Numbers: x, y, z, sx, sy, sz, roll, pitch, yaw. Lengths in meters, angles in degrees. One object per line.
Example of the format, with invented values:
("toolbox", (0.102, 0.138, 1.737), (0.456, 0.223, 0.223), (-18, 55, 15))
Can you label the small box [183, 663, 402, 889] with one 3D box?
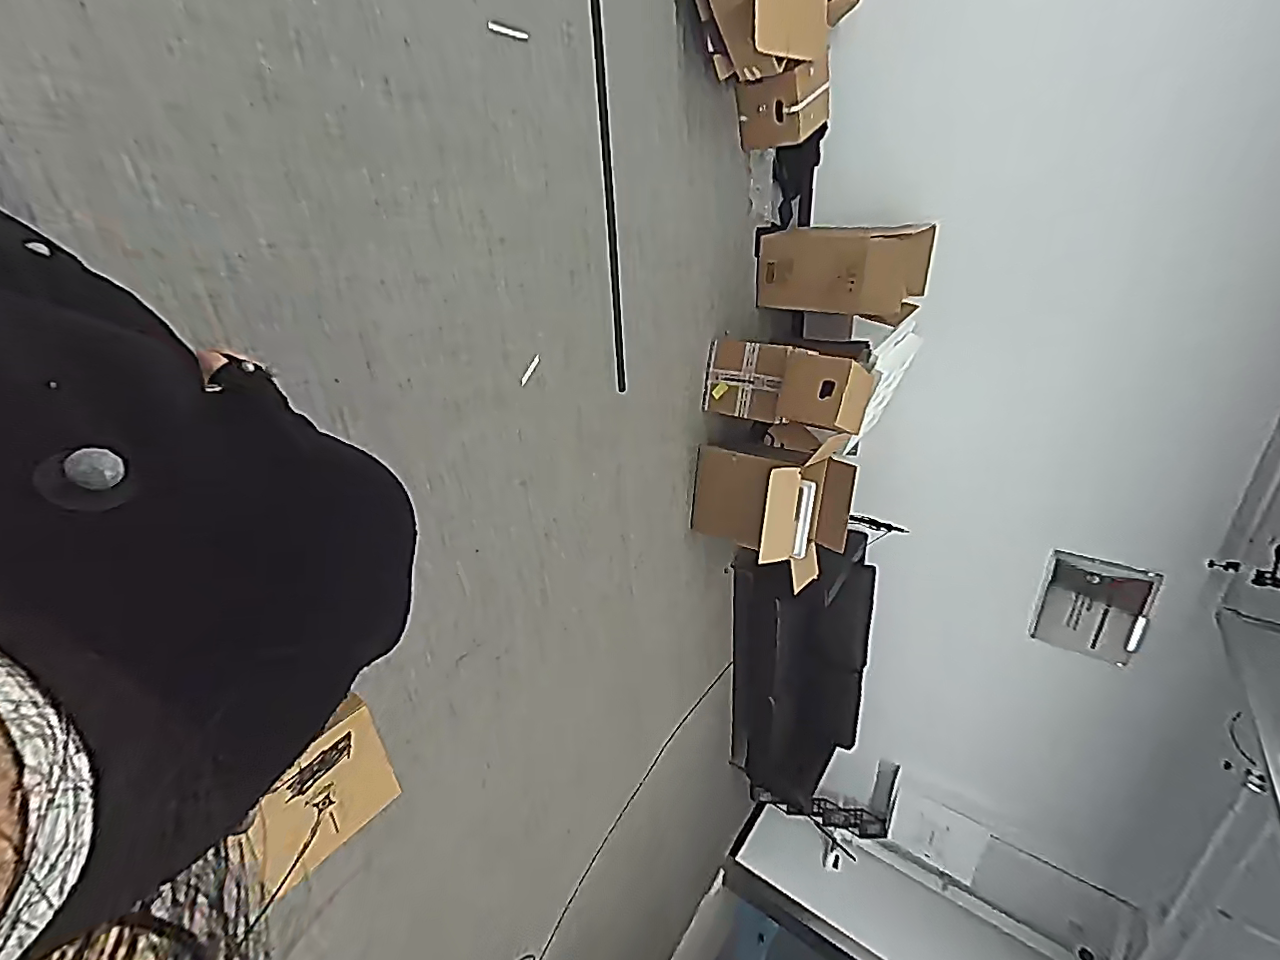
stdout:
("small box", (-0.453, 0.368, 0.712), (0.168, 0.176, 0.179), (-32, 127, -44))

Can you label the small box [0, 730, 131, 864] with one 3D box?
("small box", (-0.740, 0.421, 0.621), (0.168, 0.176, 0.179), (-28, 124, -47))

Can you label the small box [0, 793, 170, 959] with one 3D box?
("small box", (-0.607, 0.459, 0.531), (0.168, 0.176, 0.179), (-29, 125, -47))
